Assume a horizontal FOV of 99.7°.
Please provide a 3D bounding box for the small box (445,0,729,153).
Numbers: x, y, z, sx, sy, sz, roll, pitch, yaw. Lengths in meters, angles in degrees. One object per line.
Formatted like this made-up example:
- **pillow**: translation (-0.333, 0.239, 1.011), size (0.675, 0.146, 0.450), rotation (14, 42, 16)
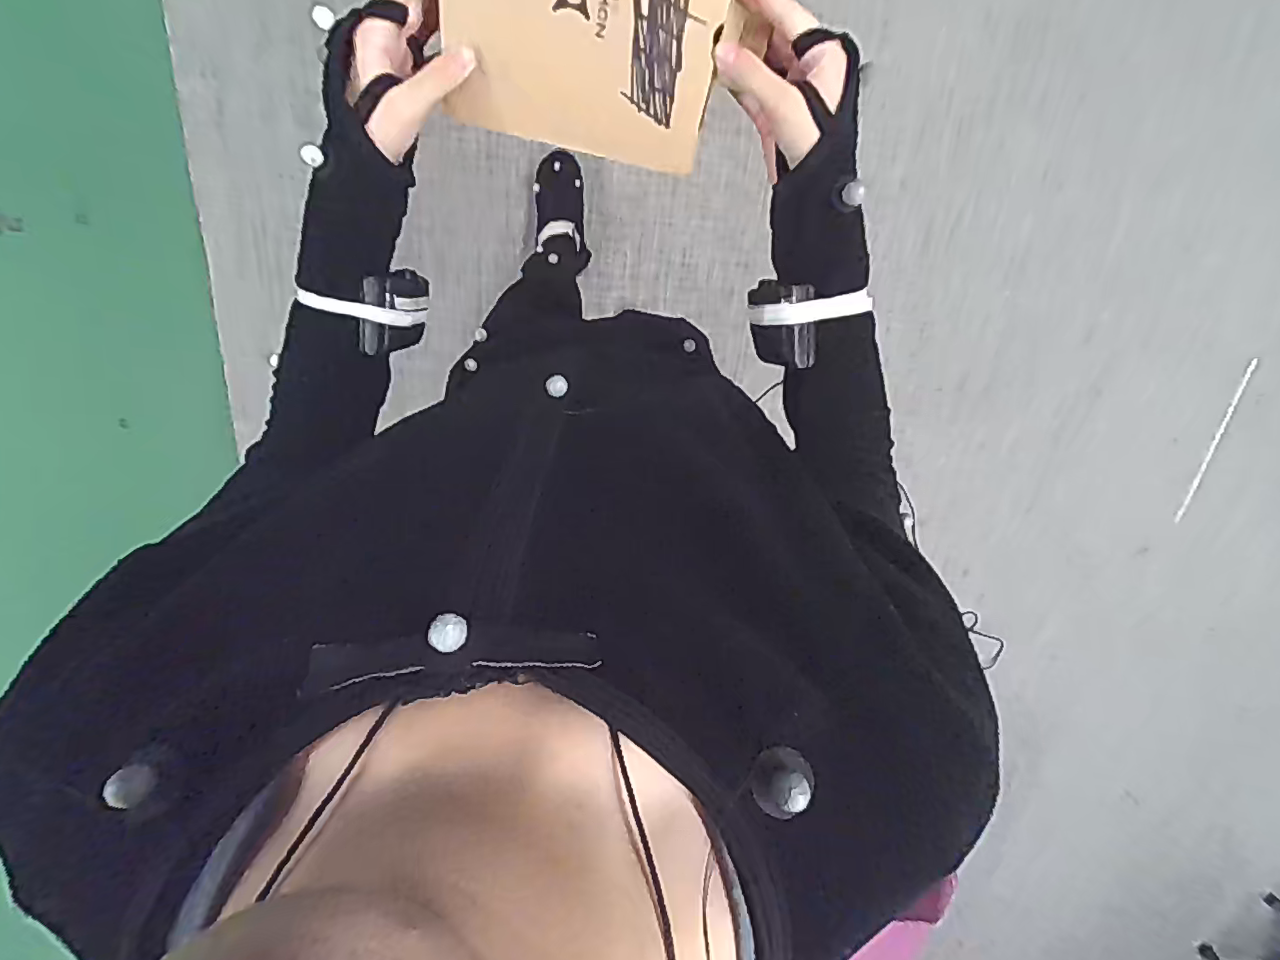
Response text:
- **small box**: translation (-0.029, -0.365, 0.381), size (0.179, 0.176, 0.168), rotation (10, 136, -8)
